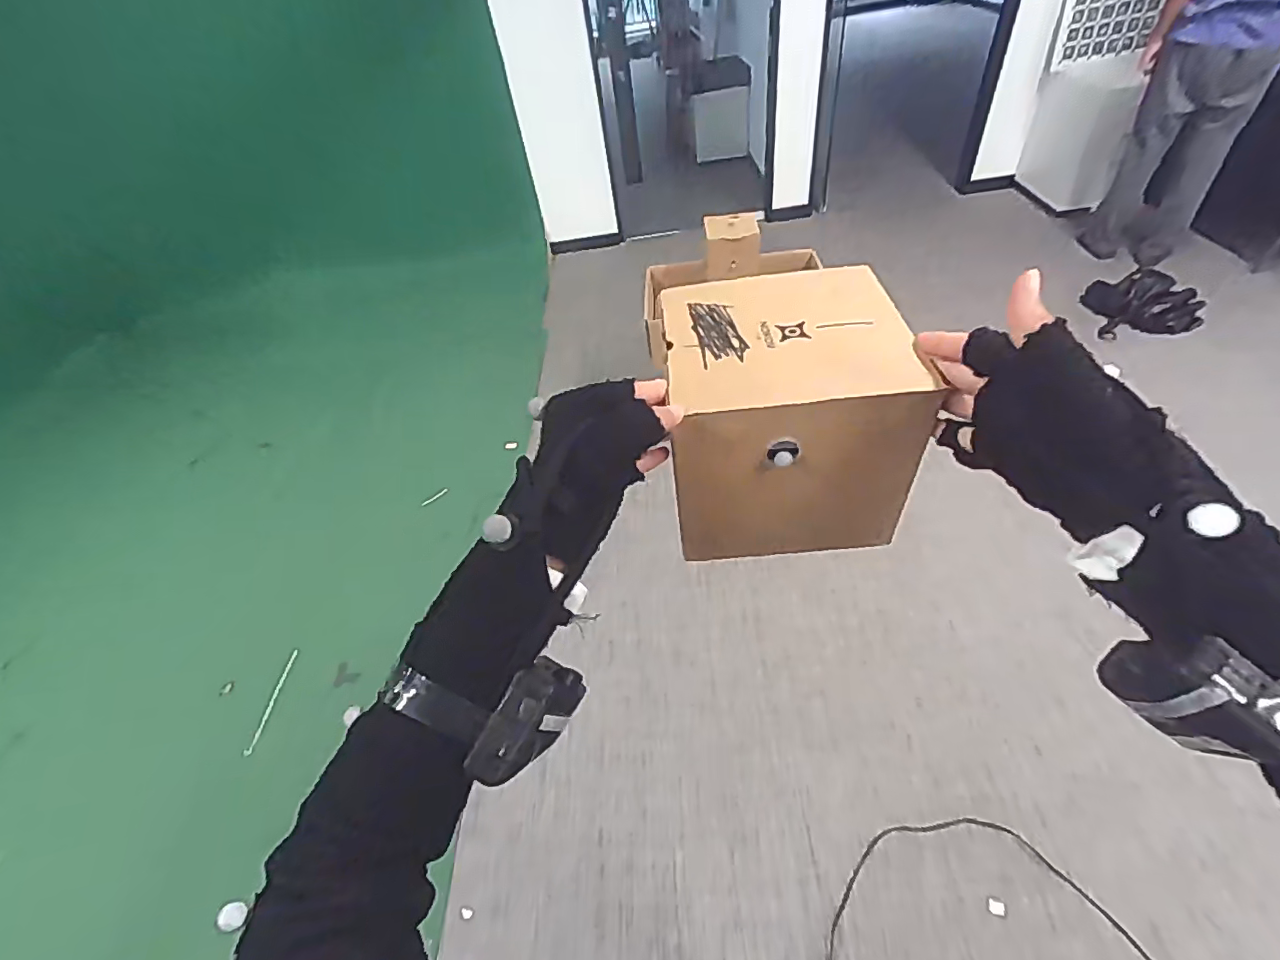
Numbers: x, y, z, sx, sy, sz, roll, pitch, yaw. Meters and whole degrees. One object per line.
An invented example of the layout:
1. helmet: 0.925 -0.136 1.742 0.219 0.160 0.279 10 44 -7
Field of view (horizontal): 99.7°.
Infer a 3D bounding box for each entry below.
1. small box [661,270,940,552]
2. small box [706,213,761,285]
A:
1. small box: 0.114 -0.052 0.458 0.179 0.176 0.168 -5 47 4
2. small box: 0.309 -0.761 1.799 0.168 0.176 0.179 -3 47 5
